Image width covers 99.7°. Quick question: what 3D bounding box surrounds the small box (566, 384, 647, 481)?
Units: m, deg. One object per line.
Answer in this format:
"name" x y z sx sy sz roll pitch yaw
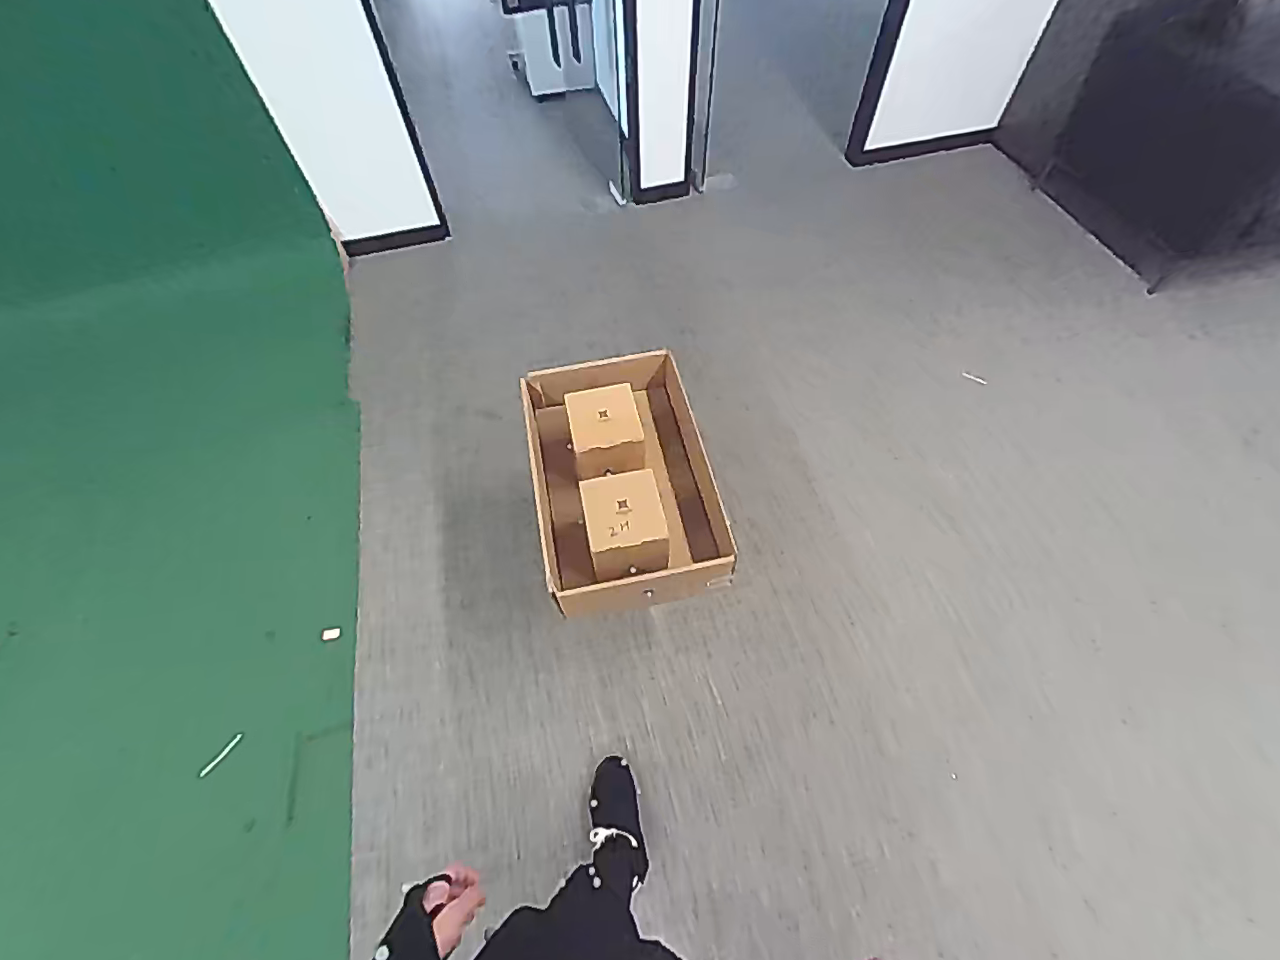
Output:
"small box" -0.082 -0.107 1.340 0.168 0.176 0.179 -12 60 -6

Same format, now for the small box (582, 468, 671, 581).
"small box" -0.031 0.102 1.201 0.168 0.176 0.179 -11 58 -4
